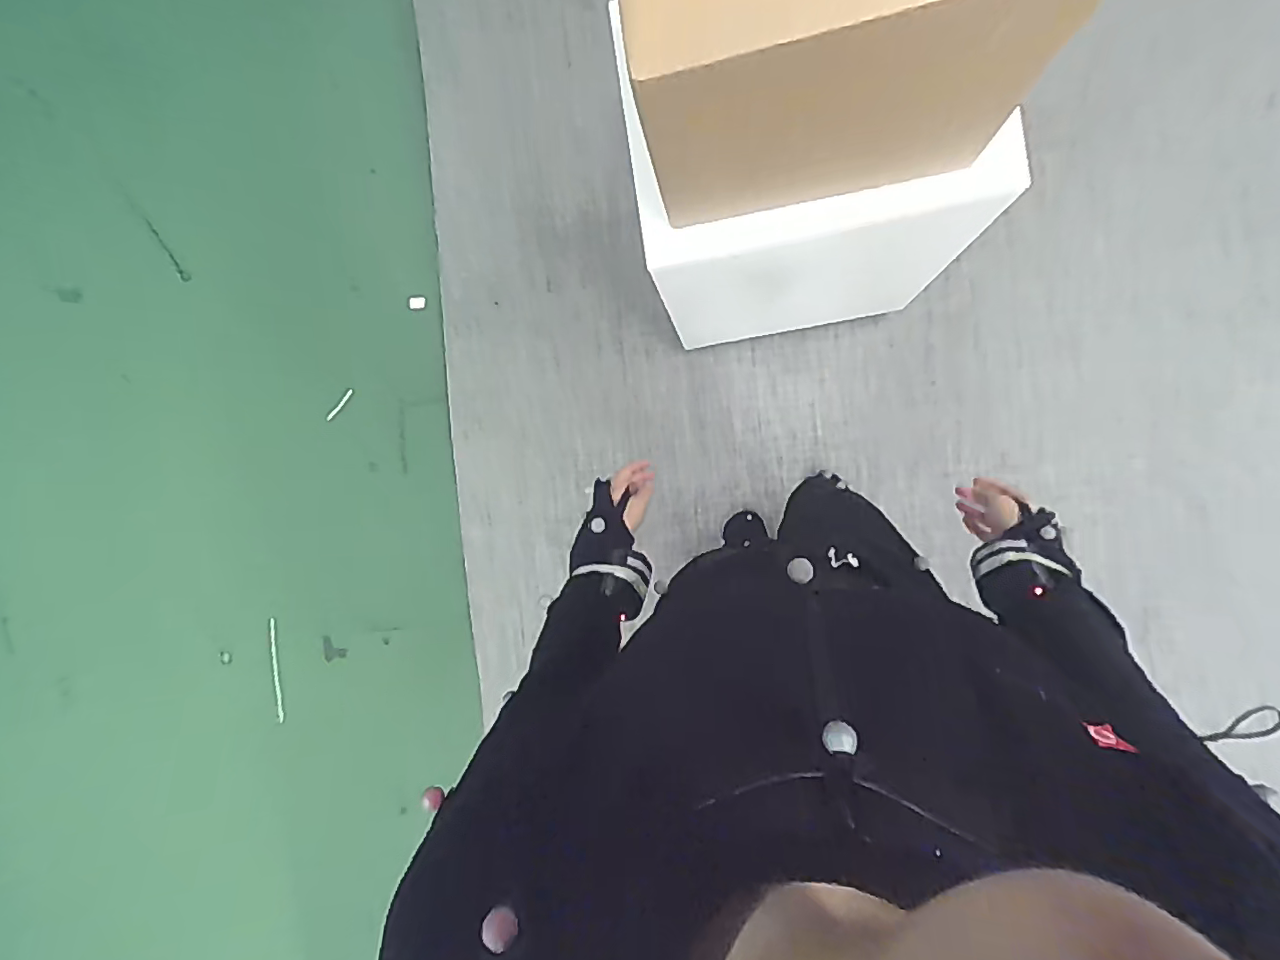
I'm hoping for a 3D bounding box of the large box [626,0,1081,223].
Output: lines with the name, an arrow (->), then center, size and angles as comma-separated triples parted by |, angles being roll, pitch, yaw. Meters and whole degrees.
large box -> 0.191, -0.541, 0.600 | 0.408, 0.320, 0.320 | -8, 91, 9
